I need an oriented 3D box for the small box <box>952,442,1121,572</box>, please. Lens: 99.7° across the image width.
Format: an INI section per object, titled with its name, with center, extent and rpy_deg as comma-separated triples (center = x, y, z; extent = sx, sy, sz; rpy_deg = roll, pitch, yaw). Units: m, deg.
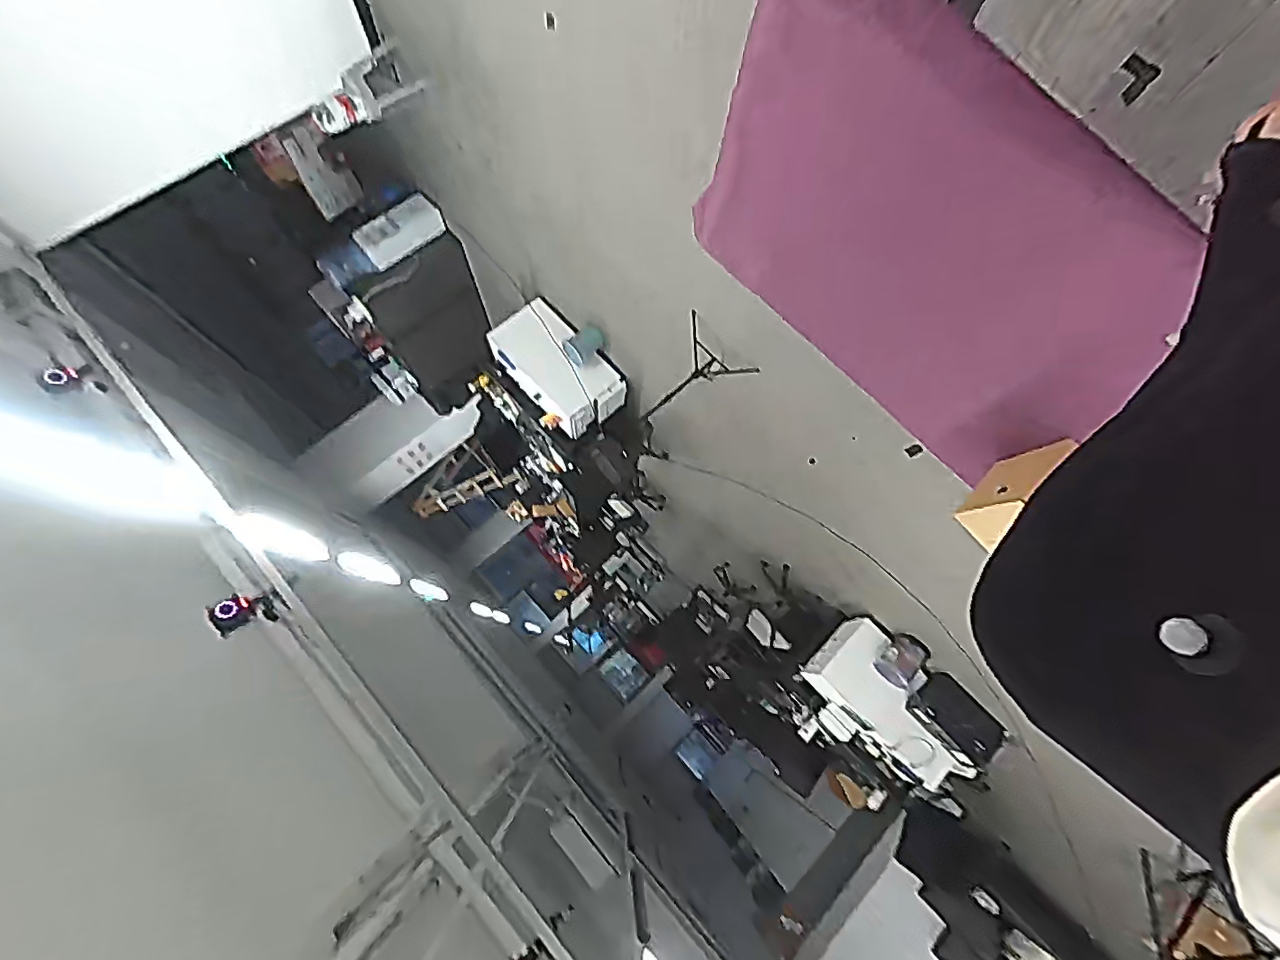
[small box]
center = 0.751, 0.053, 1.023
extent = 0.168, 0.176, 0.179
rpy_deg = 47, 165, 4
